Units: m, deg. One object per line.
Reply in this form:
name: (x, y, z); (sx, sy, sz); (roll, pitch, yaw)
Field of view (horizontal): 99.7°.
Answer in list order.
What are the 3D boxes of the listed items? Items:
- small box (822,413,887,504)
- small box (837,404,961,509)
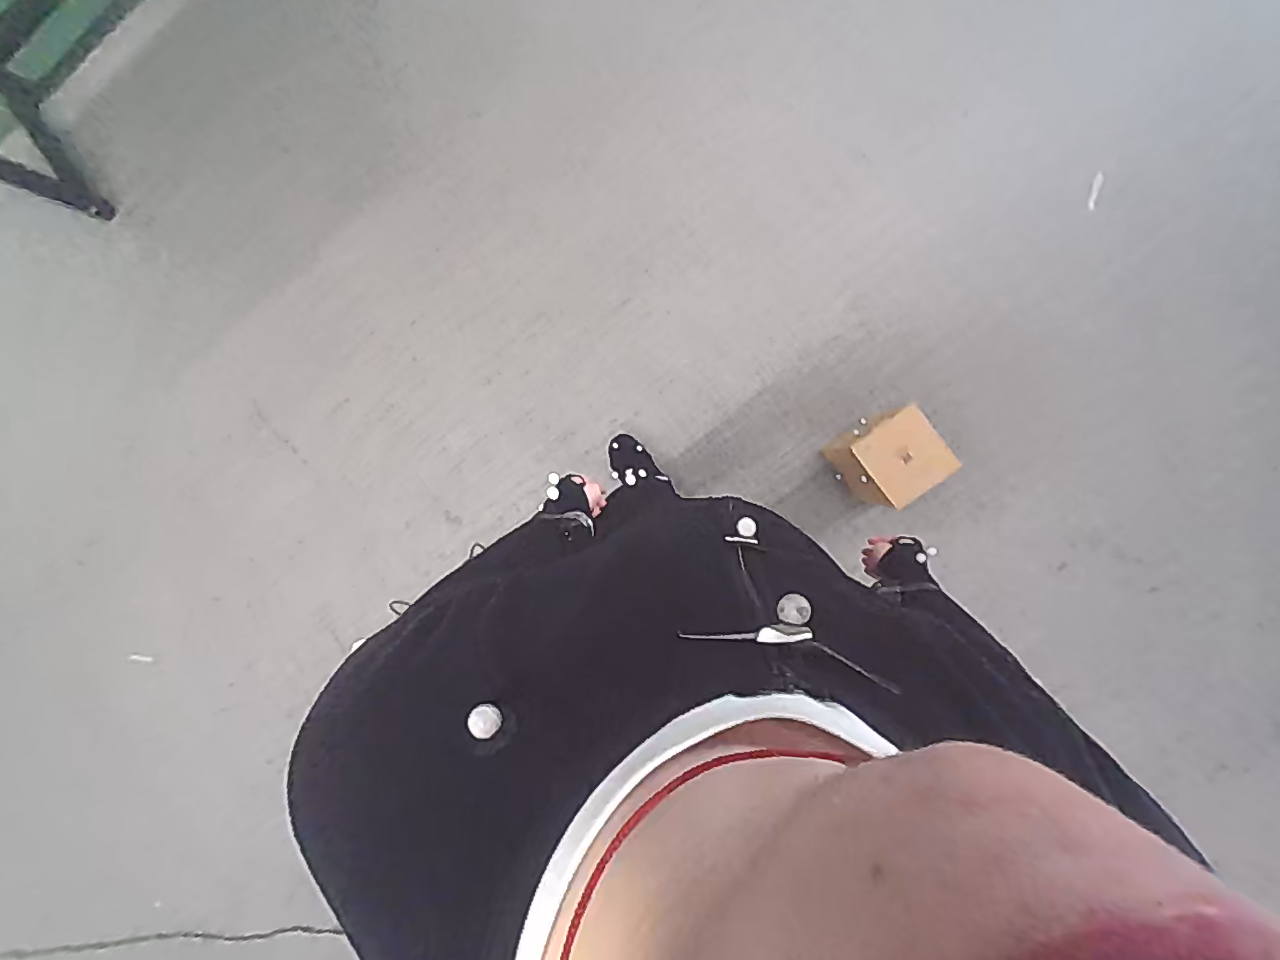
small box: (0.608, -0.058, 1.418); (0.168, 0.176, 0.179); (-35, 88, 7)
small box: (0.588, -0.052, 1.256); (0.168, 0.176, 0.179); (-37, 88, 8)
